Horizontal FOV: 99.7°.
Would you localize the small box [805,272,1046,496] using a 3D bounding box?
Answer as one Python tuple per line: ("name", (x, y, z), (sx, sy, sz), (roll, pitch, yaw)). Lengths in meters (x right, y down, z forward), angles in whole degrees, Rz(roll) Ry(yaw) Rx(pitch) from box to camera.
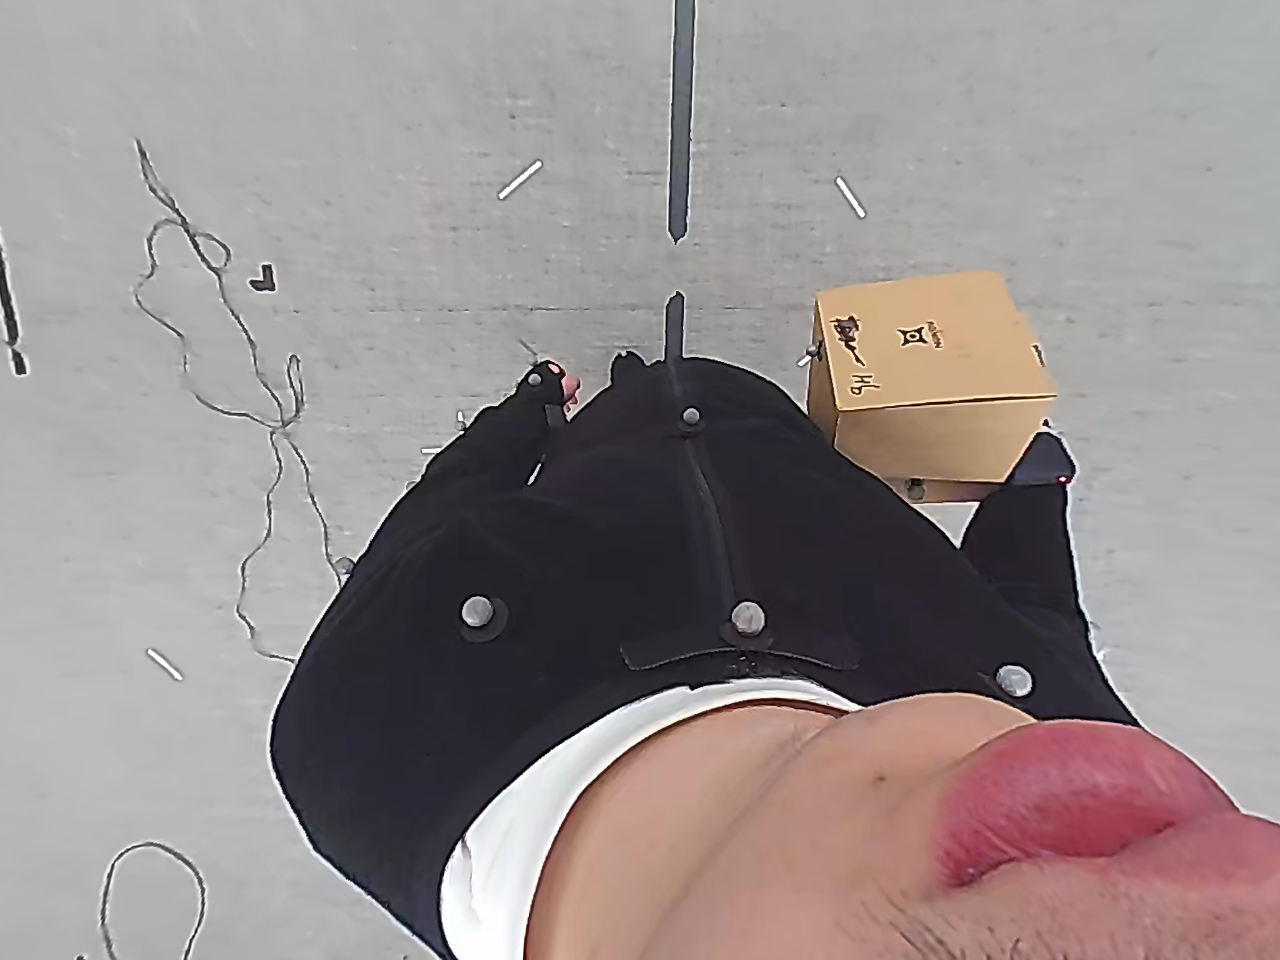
("small box", (0.282, -0.095, 0.584), (0.179, 0.168, 0.176), (-3, 145, 11))
